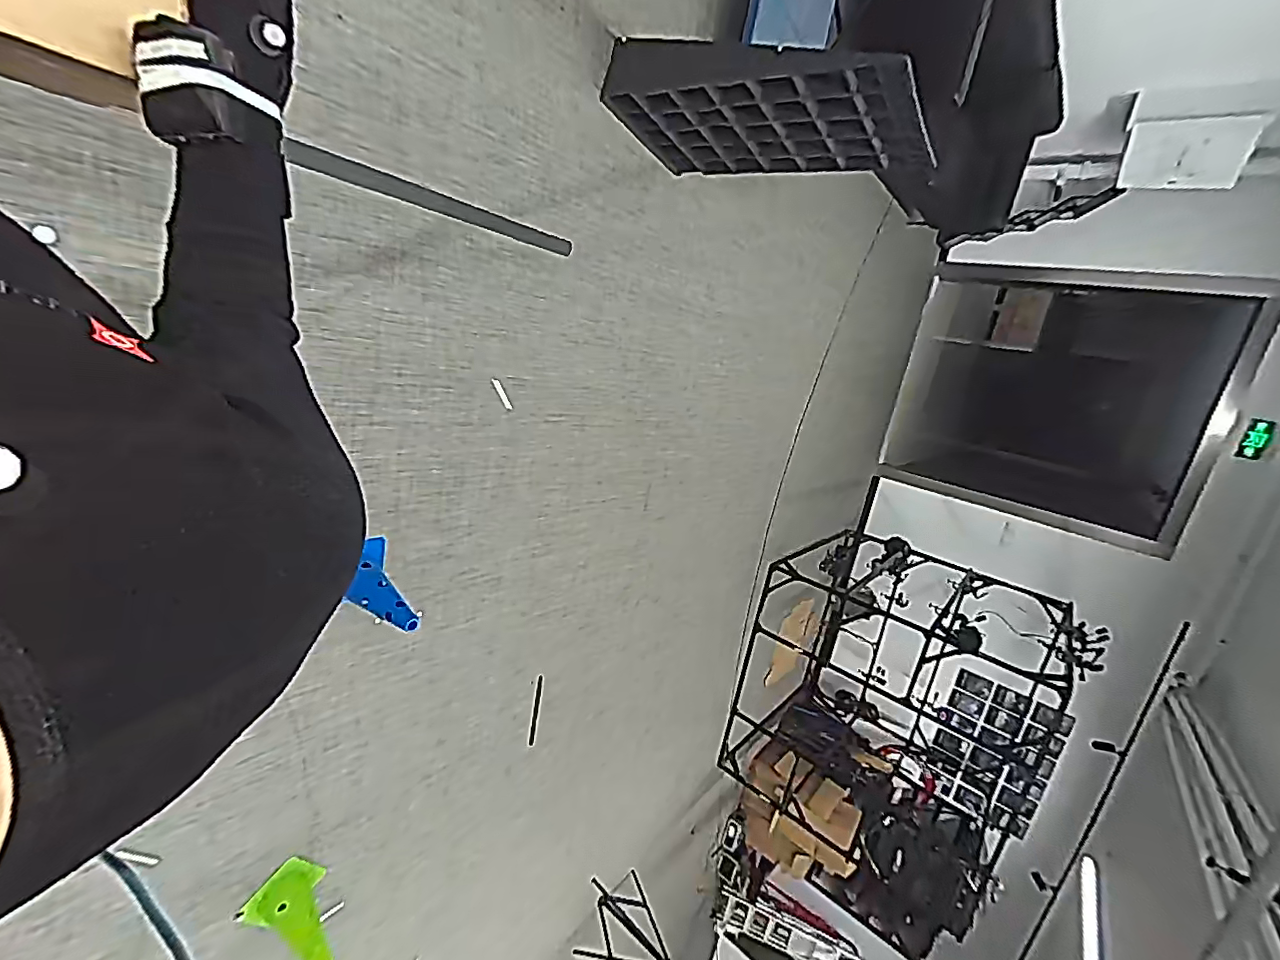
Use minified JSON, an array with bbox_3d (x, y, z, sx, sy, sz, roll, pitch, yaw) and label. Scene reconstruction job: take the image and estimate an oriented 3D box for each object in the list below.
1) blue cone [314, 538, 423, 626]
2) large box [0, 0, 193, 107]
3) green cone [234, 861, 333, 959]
[{"bbox_3d":[-0.741,0.318,1.523,0.192,0.380,0.193,-3,110,-54],"label":"blue cone"},{"bbox_3d":[-0.531,-0.450,0.276,0.408,0.320,0.320,-9,118,-52],"label":"large box"},{"bbox_3d":[-1.033,1.403,1.660,0.202,0.368,0.200,-48,141,-30],"label":"green cone"}]
